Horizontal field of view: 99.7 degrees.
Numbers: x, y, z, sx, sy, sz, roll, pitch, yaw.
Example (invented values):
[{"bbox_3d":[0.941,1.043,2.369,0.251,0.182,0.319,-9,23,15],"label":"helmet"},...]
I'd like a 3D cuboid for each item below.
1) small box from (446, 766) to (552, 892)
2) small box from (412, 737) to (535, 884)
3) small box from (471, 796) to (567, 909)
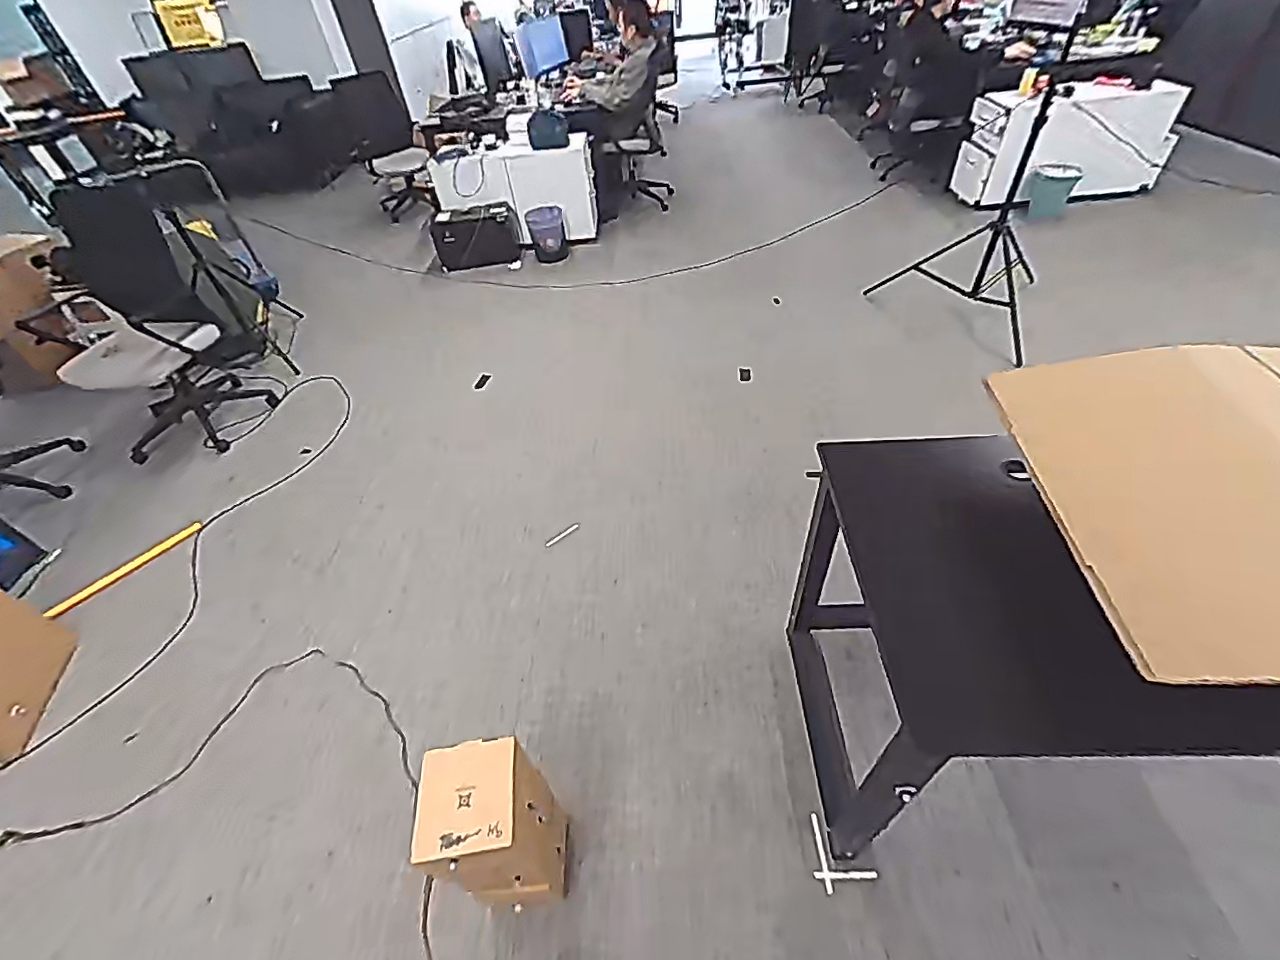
[{"bbox_3d":[-0.276,0.711,1.096,0.168,0.176,0.179,-7,43,-2],"label":"small box"},{"bbox_3d":[-0.289,0.598,0.978,0.168,0.176,0.179,-9,44,-3],"label":"small box"},{"bbox_3d":[-0.260,0.831,1.205,0.168,0.176,0.179,-6,45,1],"label":"small box"}]
